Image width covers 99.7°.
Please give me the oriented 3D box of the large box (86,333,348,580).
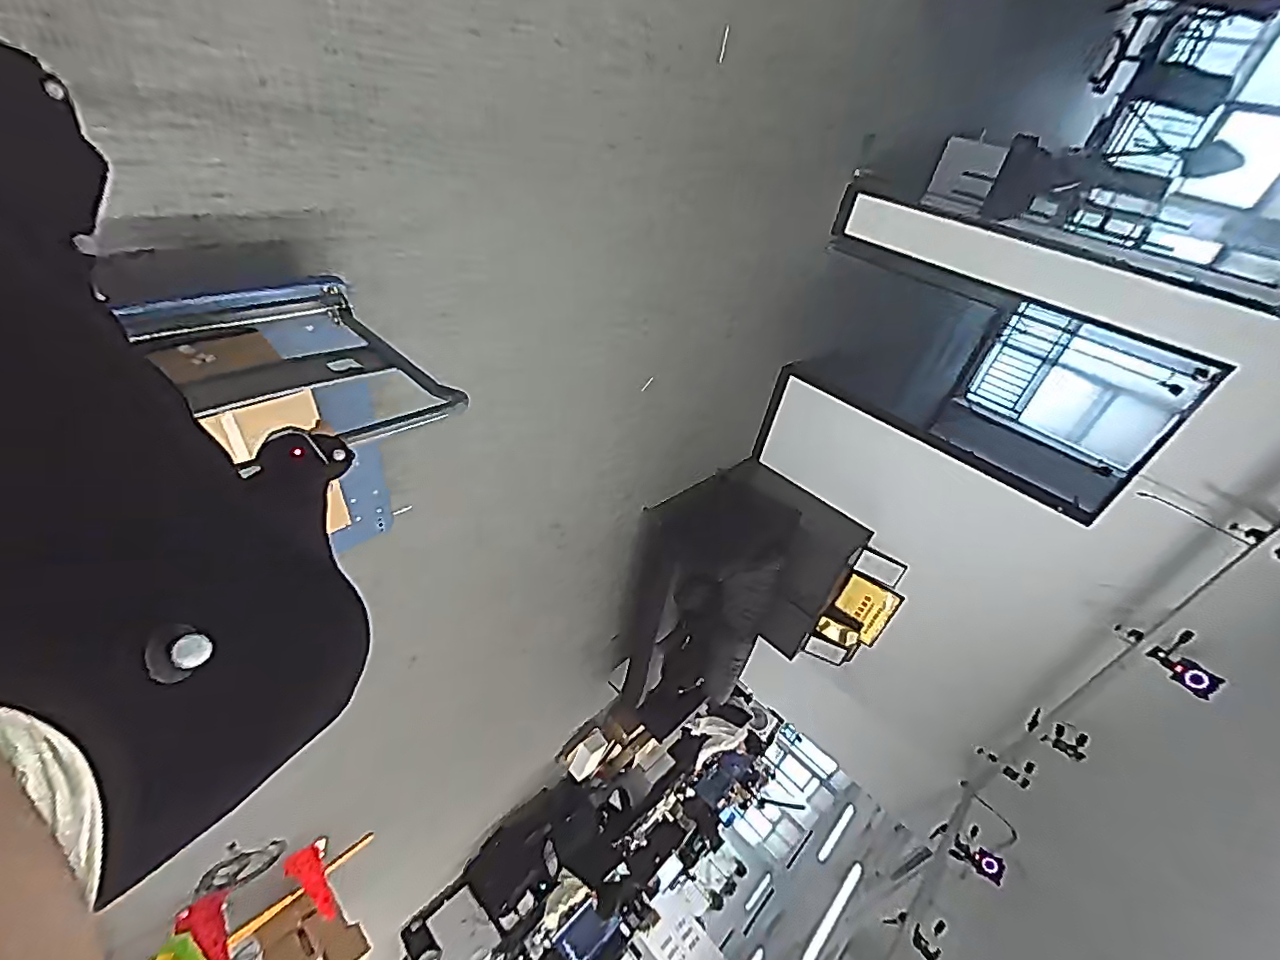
[{"bbox_3d":[-0.929,-0.062,1.229,0.320,0.320,0.408,-28,143,-37],"label":"large box"}]
